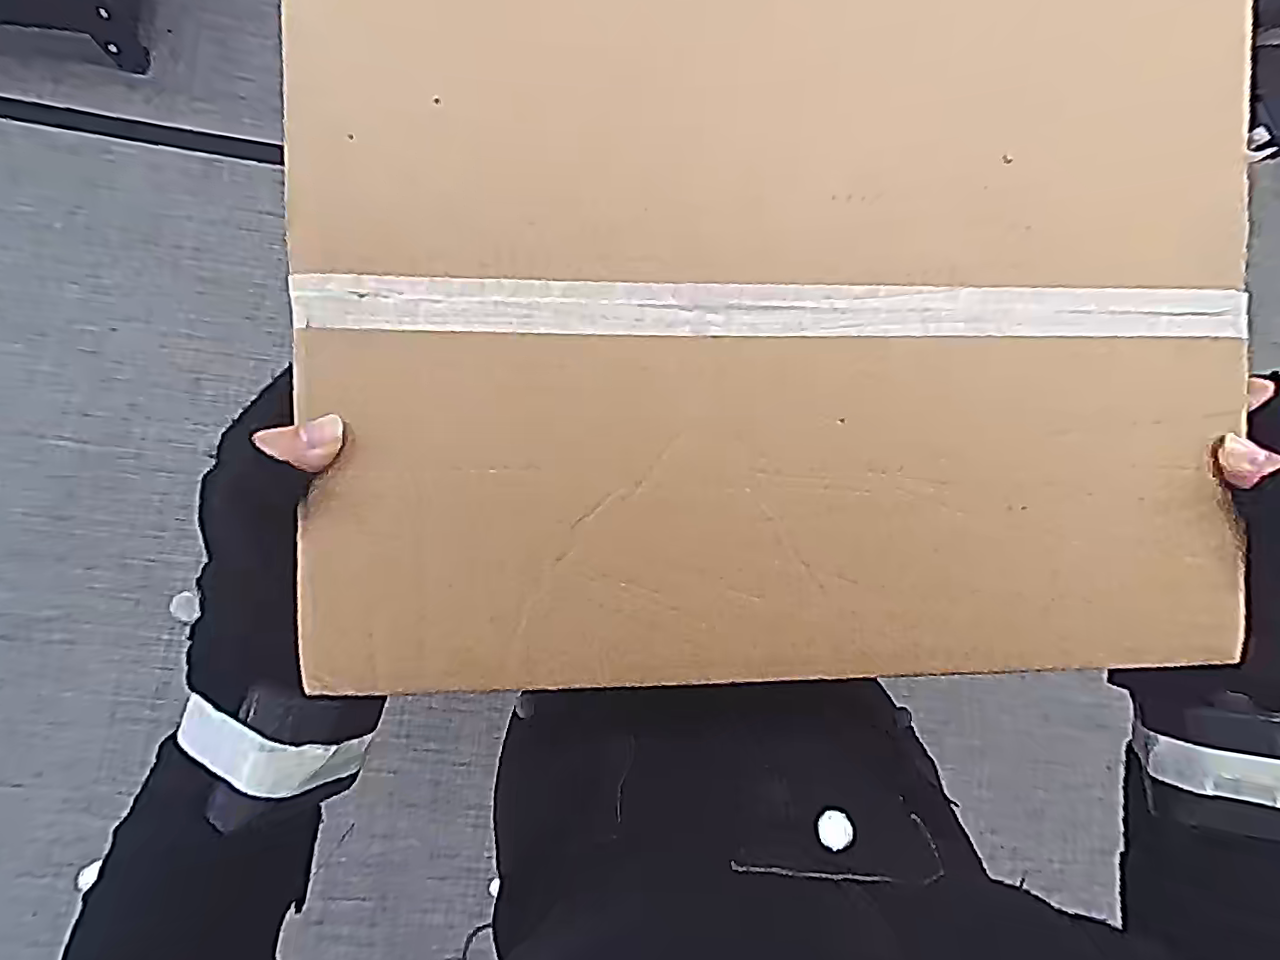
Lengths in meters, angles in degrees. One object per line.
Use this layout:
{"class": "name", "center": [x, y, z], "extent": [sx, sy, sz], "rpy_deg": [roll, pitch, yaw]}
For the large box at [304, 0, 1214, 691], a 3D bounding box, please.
{"class": "large box", "center": [0.054, -0.073, 0.386], "extent": [0.408, 0.320, 0.320], "rpy_deg": [-1, 91, -4]}
